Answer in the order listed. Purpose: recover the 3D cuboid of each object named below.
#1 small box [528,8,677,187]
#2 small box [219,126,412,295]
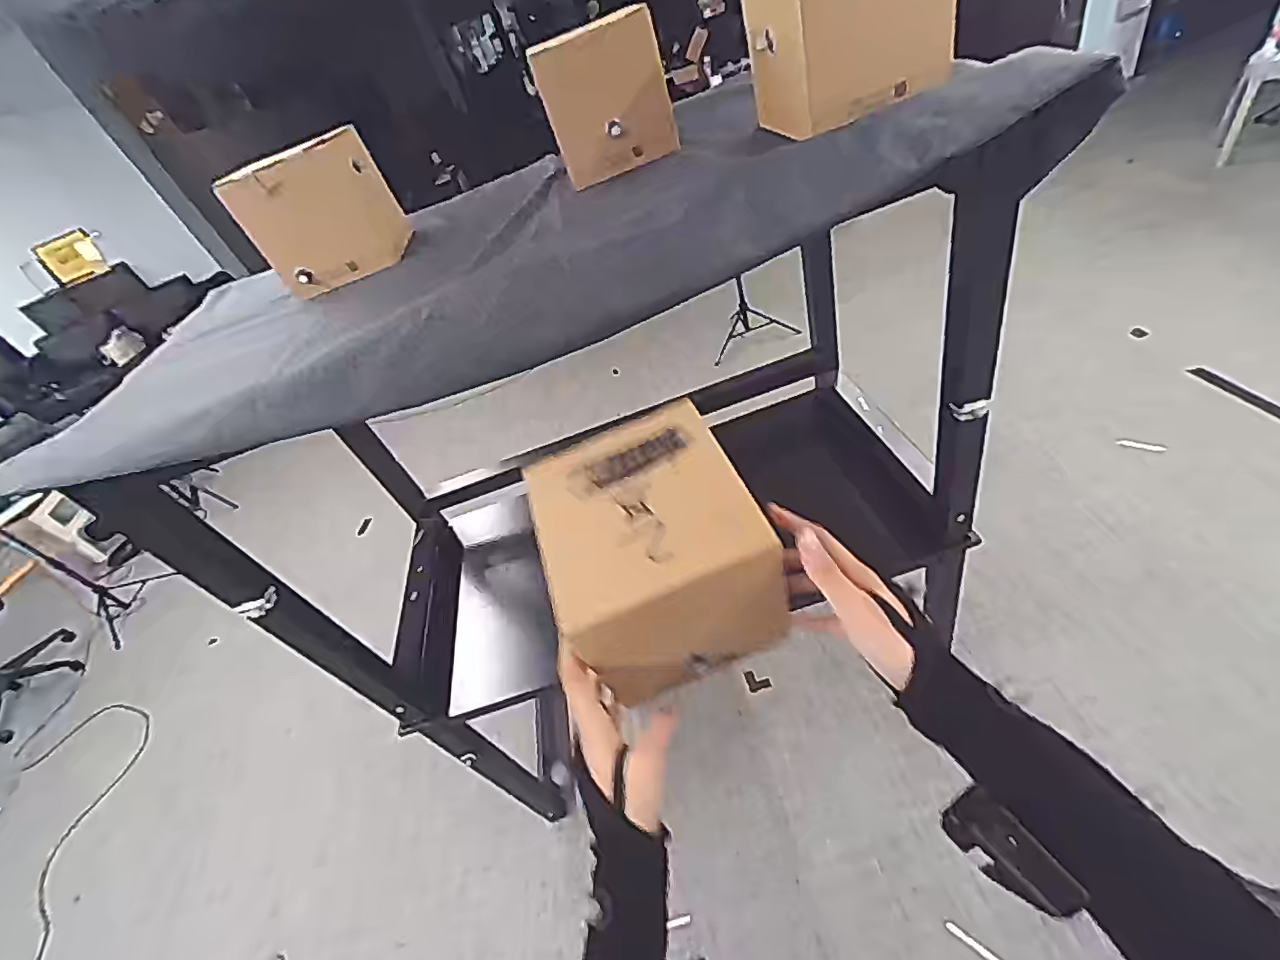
[{"bbox_3d":[-0.055,-0.561,0.801,0.168,0.176,0.179,-20,41,5],"label":"small box"},{"bbox_3d":[-0.475,-0.406,0.826,0.168,0.176,0.179,-19,40,4],"label":"small box"}]
